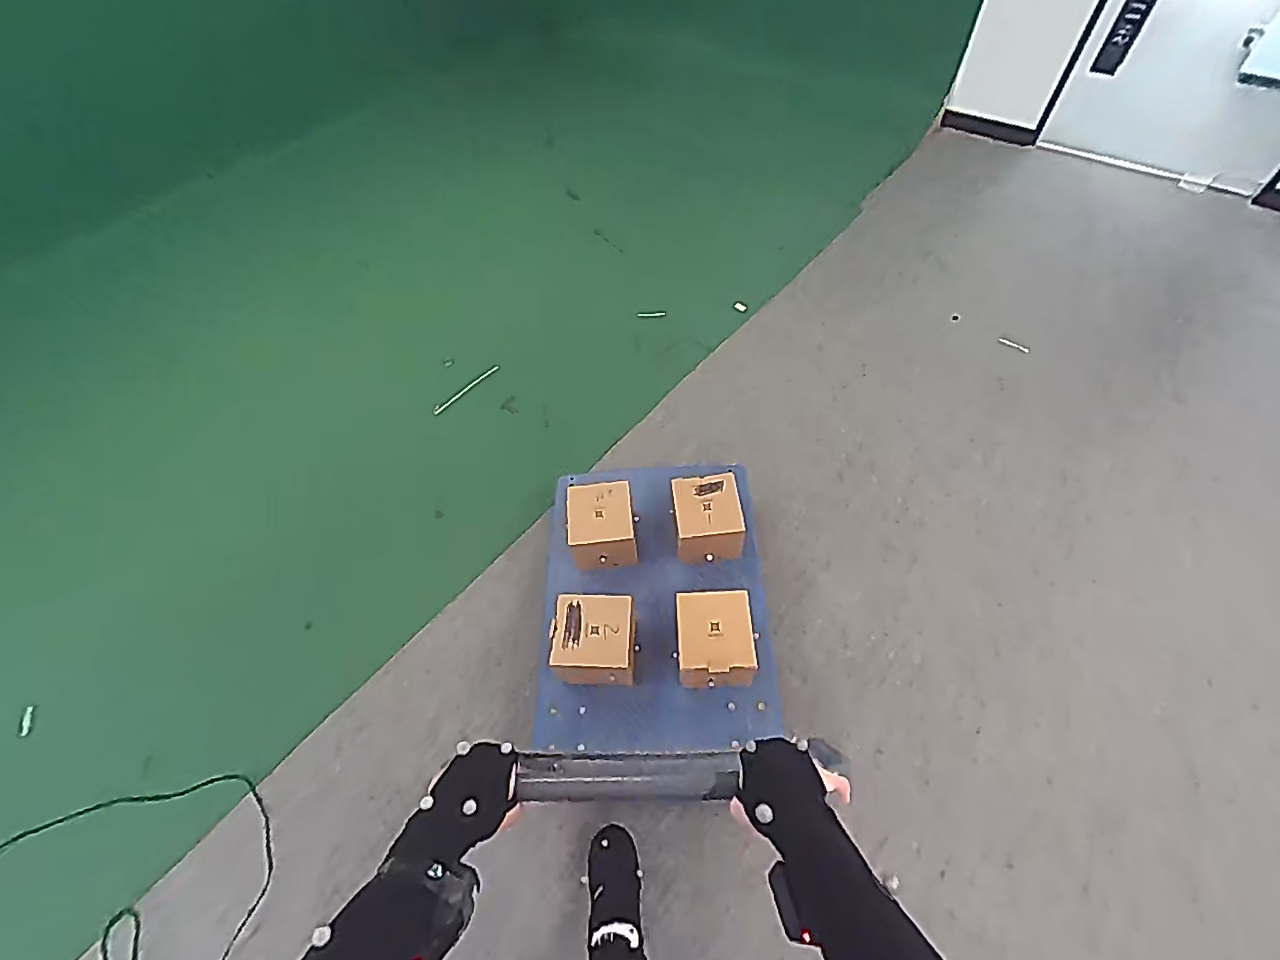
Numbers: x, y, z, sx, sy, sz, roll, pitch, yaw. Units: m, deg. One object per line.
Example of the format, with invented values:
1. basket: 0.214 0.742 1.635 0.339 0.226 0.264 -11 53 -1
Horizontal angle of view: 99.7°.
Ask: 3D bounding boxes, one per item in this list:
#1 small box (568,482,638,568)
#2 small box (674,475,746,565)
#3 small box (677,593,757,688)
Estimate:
1. small box: -0.097 0.127 1.446 0.168 0.176 0.179 -5 57 0
2. small box: 0.178 0.109 1.436 0.168 0.176 0.179 -6 58 1
3. small box: 0.173 0.377 1.265 0.168 0.176 0.179 -3 58 3
